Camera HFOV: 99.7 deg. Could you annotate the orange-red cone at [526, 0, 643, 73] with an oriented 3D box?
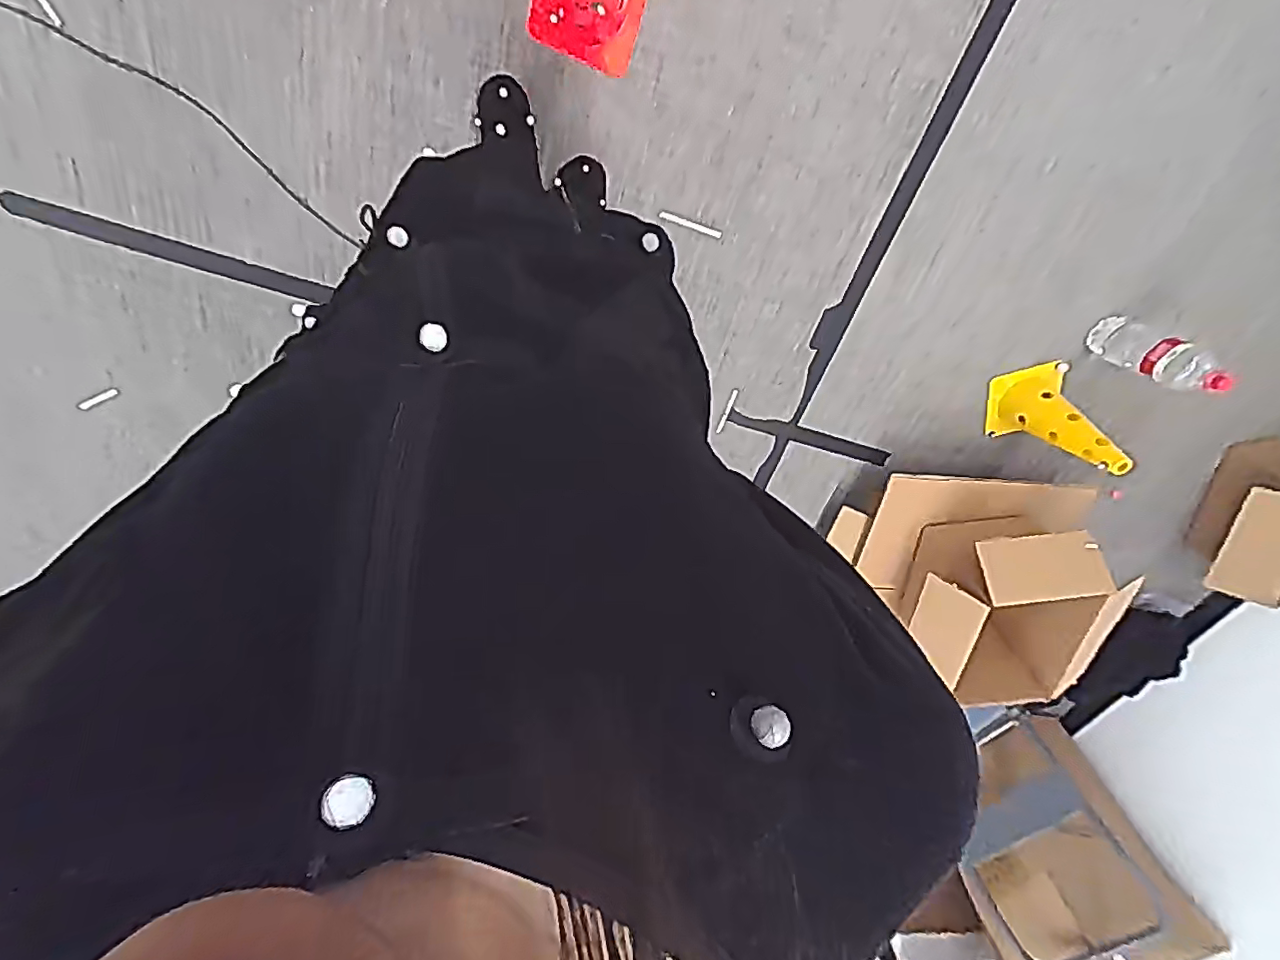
[{"bbox_3d":[-0.082,-0.796,0.844,0.199,0.360,0.198,16,121,-15],"label":"orange-red cone"}]
